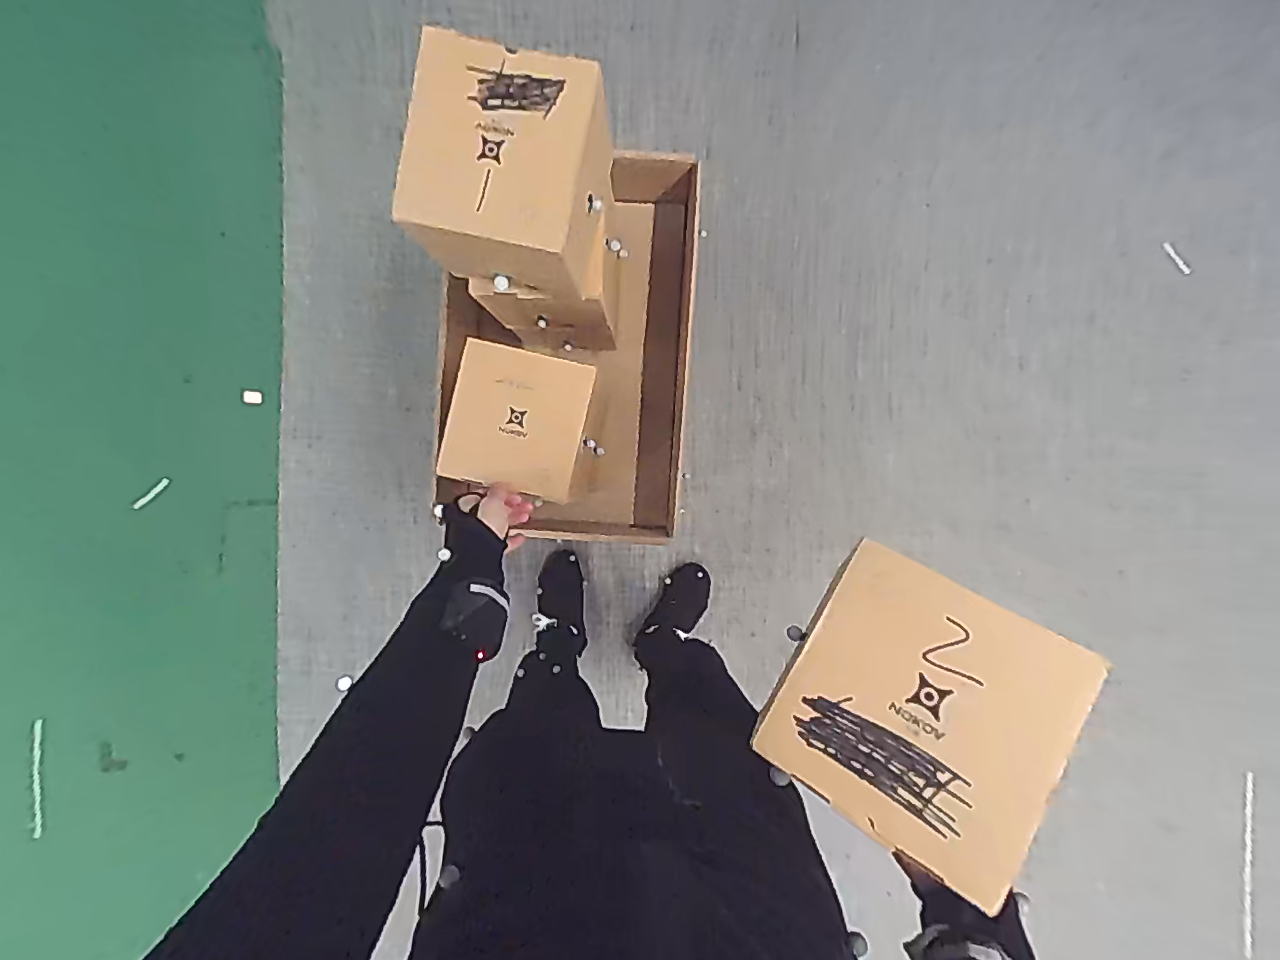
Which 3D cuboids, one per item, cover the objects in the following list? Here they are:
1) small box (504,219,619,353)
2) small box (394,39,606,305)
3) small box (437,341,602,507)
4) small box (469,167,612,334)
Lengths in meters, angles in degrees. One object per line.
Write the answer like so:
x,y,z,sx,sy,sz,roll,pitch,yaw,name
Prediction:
-0.124,-0.321,0.908,0.168,0.176,0.179,3,93,1,small box
-0.134,-0.310,0.583,0.168,0.176,0.179,12,94,0,small box
-0.152,-0.069,0.746,0.168,0.176,0.179,14,89,0,small box
-0.127,-0.312,0.747,0.168,0.176,0.179,2,93,0,small box
